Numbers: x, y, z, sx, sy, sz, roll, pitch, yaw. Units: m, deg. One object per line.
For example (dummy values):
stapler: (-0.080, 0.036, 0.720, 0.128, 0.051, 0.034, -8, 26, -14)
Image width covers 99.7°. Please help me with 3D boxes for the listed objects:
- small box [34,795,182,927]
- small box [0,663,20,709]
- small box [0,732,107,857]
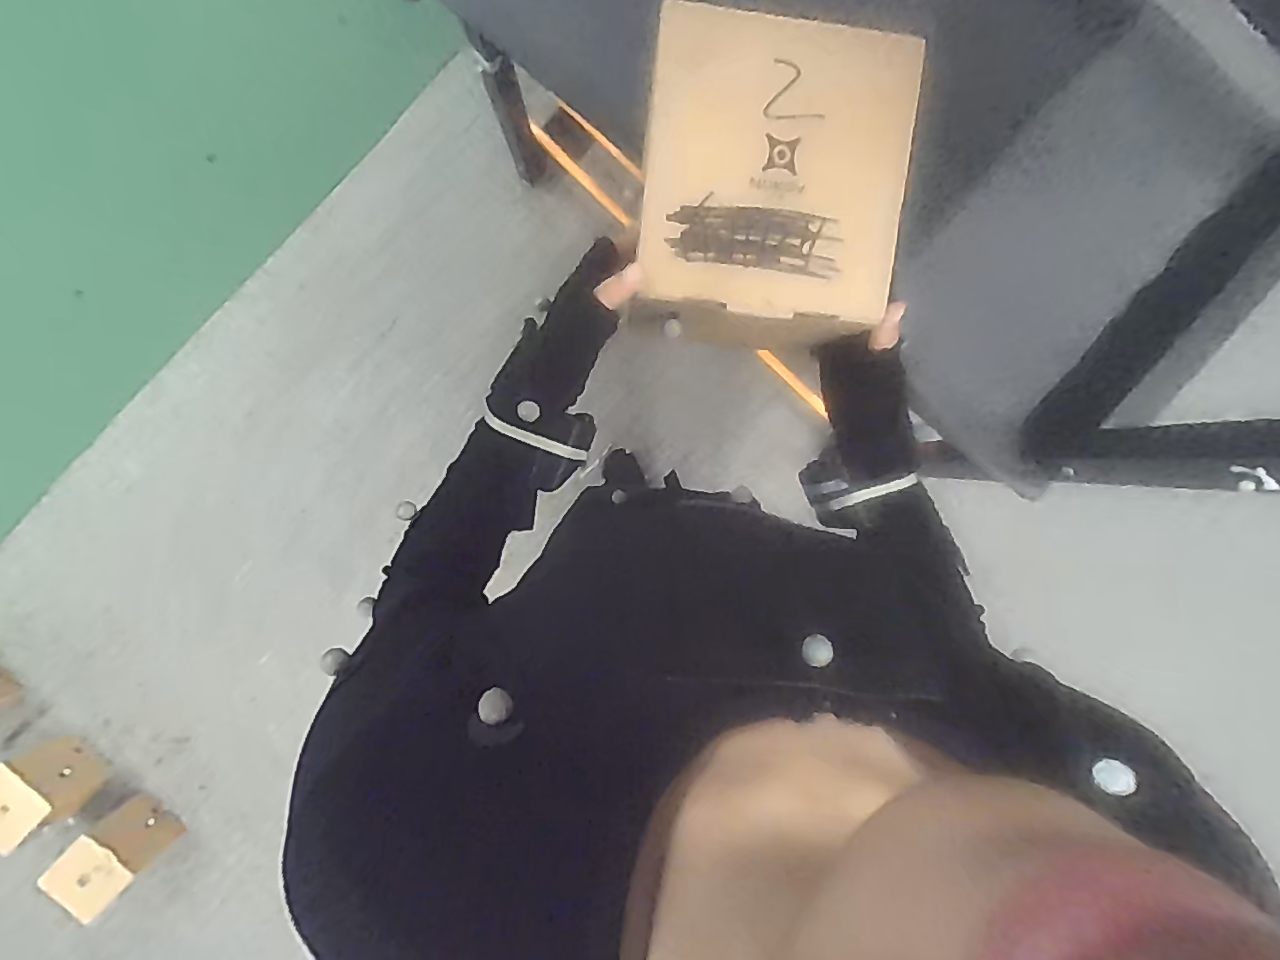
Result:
small box: (-1.342, 0.961, 1.379, 0.168, 0.176, 0.179, 44, 90, -3)
small box: (-1.759, 0.556, 1.360, 0.179, 0.176, 0.168, -43, 92, -1)
small box: (-1.529, 0.787, 1.373, 0.168, 0.176, 0.179, 43, 91, -2)
